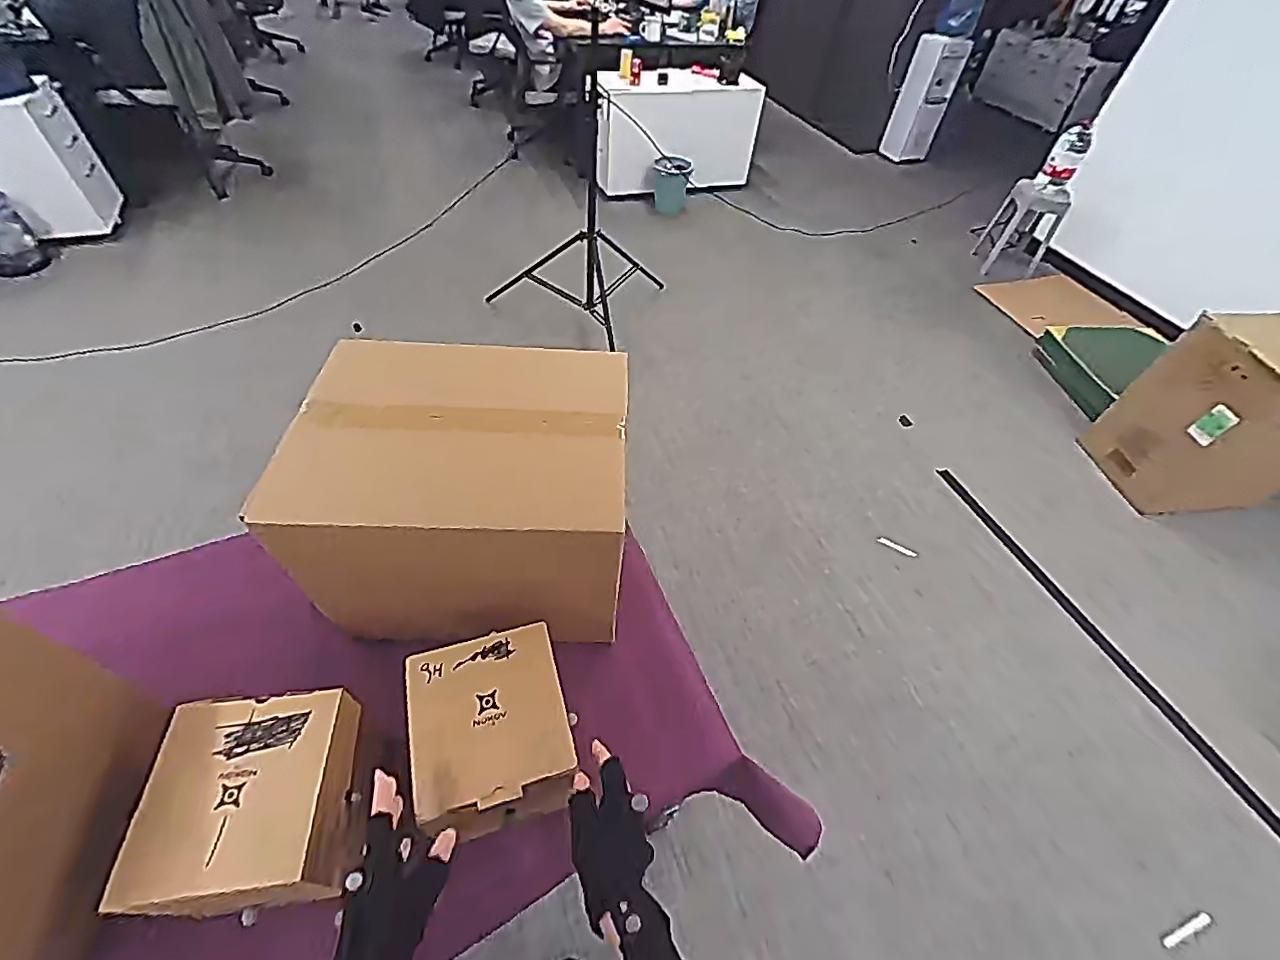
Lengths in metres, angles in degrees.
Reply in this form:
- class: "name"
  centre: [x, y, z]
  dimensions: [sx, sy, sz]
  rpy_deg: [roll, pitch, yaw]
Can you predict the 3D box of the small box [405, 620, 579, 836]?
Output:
- class: "small box"
  centre: [-0.171, 0.300, 0.647]
  dimensions: [0.168, 0.176, 0.179]
  rpy_deg: [-11, 51, -16]
